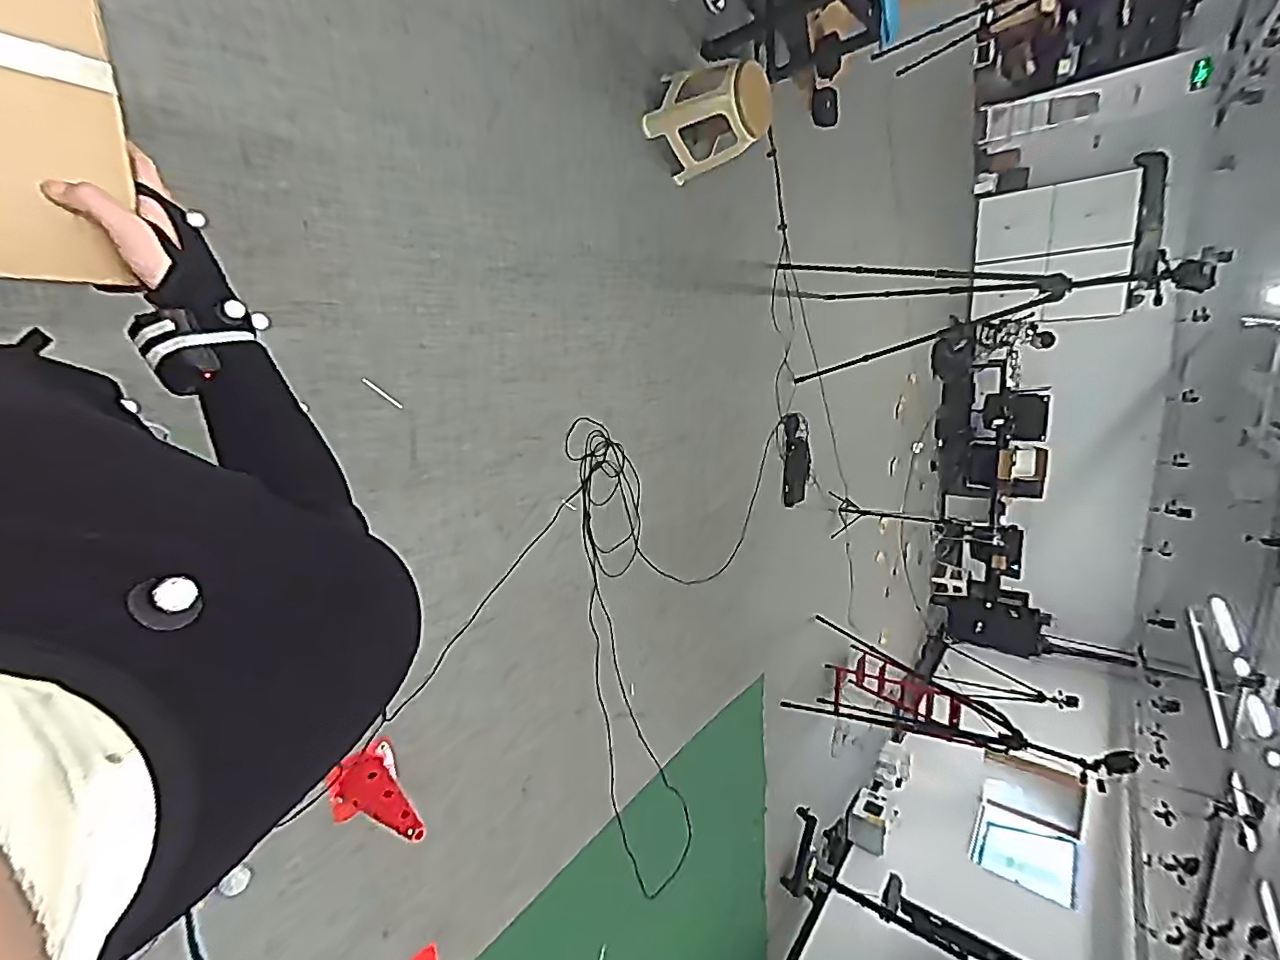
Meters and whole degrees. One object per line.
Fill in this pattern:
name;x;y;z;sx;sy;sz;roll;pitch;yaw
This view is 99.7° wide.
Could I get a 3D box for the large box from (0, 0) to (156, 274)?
large box;-0.668;-0.332;0.383;0.408;0.320;0.320;-17;122;-47
